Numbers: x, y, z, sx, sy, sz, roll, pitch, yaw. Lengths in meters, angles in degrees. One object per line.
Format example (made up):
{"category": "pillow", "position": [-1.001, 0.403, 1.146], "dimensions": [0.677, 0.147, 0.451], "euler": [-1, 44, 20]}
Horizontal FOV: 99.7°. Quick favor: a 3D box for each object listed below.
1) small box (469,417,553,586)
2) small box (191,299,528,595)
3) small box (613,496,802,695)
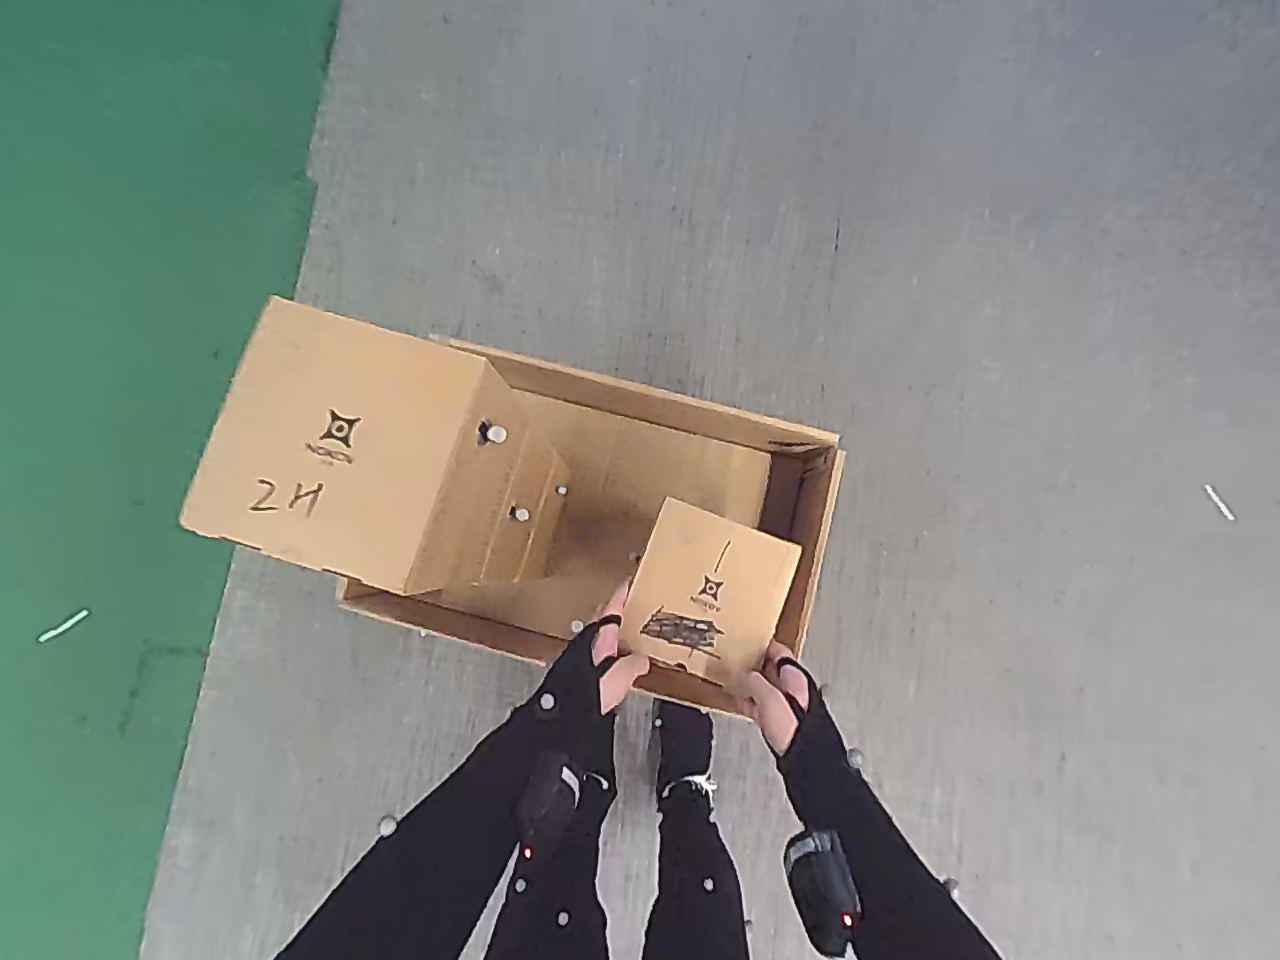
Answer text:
{"category": "small box", "position": [-0.207, 0.010, 0.620], "dimensions": [0.168, 0.176, 0.179], "euler": [16, 83, 2]}
{"category": "small box", "position": [-0.206, -0.017, 0.456], "dimensions": [0.168, 0.176, 0.179], "euler": [17, 83, 3]}
{"category": "small box", "position": [0.077, 0.135, 0.678], "dimensions": [0.168, 0.176, 0.179], "euler": [21, 83, 2]}
